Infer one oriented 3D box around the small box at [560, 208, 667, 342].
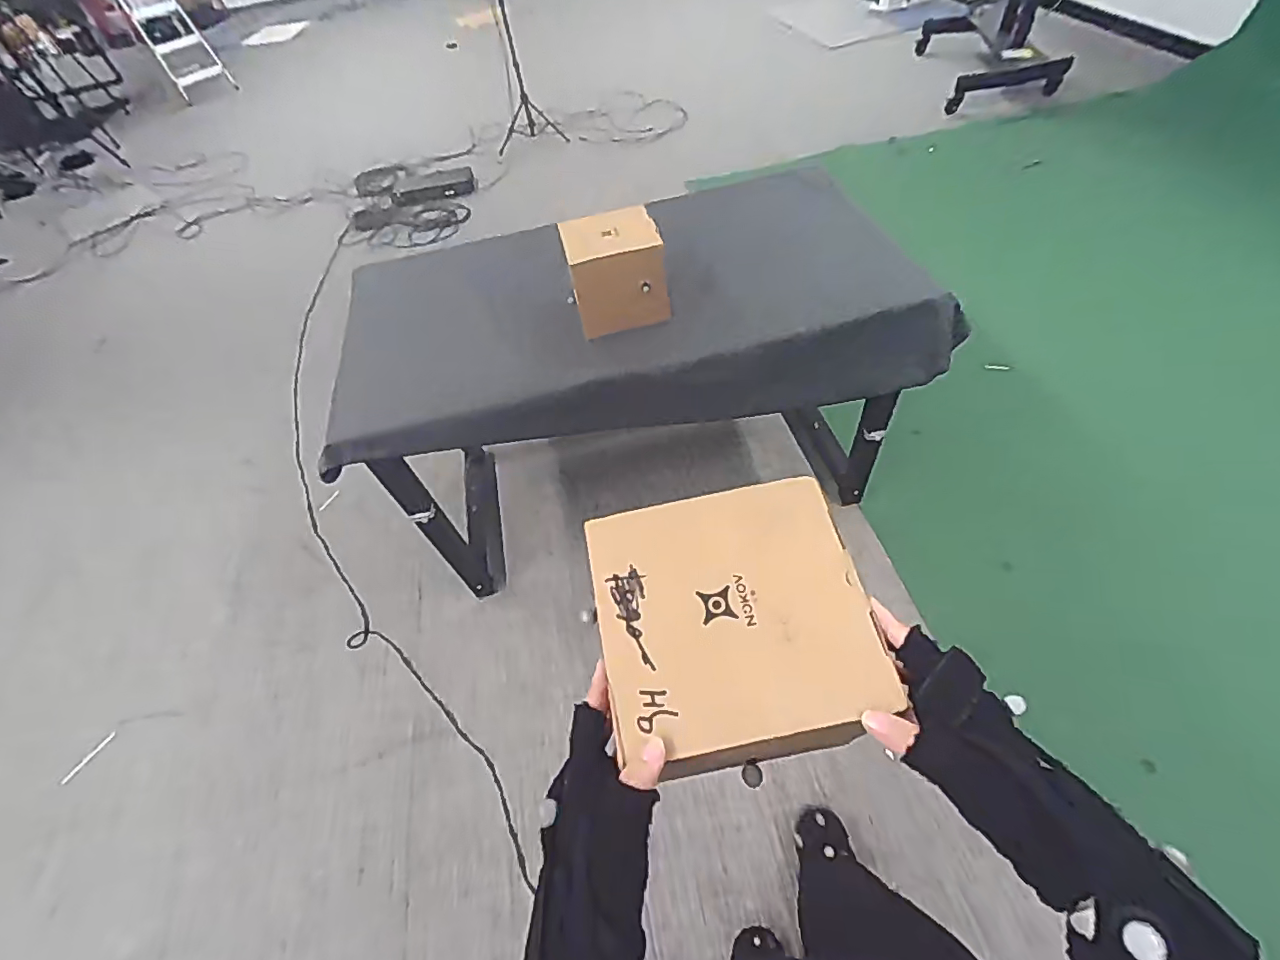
[{"bbox_3d":[-0.047,-0.405,1.079,0.179,0.176,0.168,-15,51,-2],"label":"small box"}]
